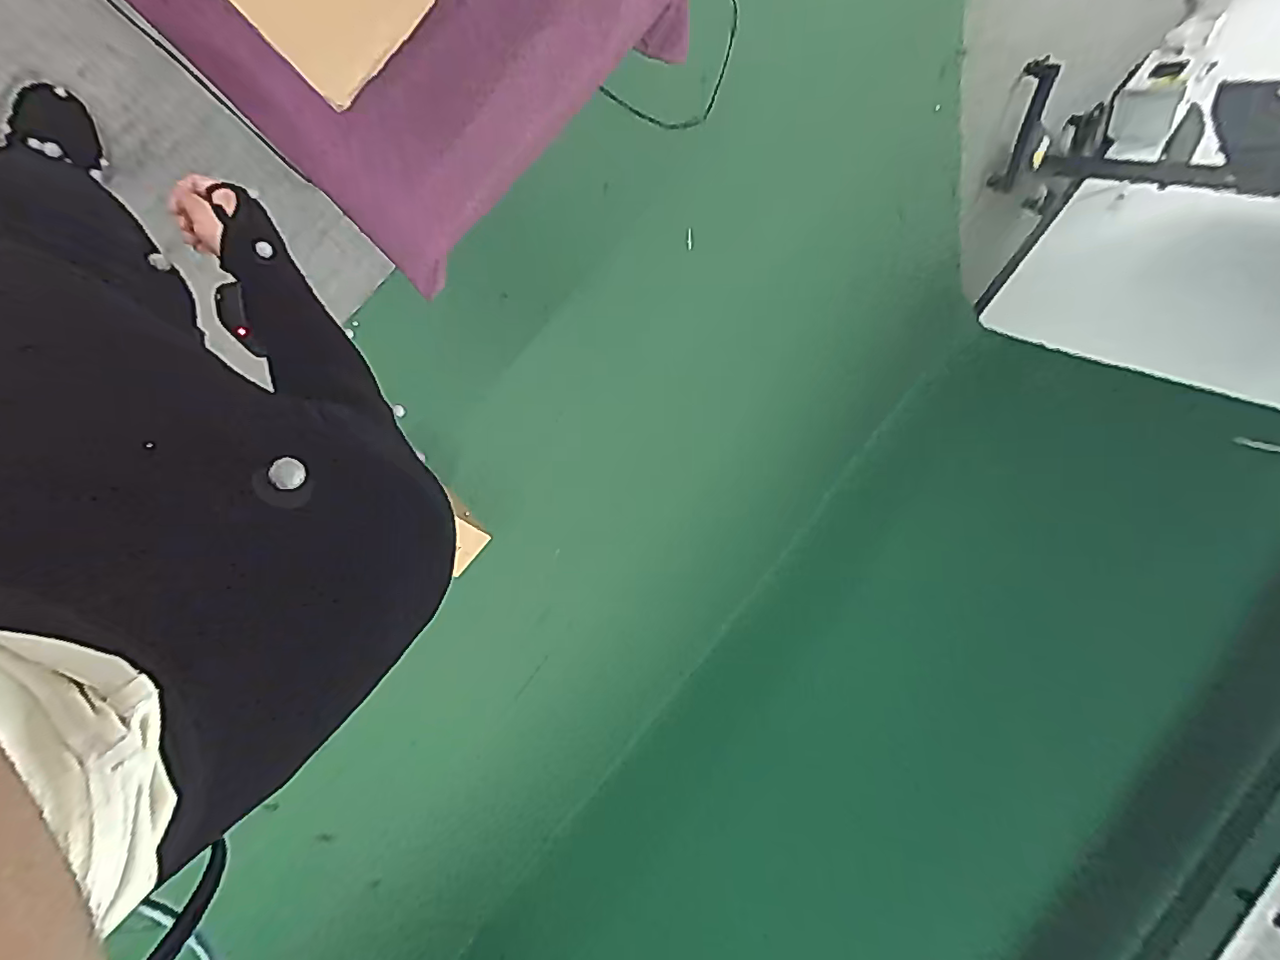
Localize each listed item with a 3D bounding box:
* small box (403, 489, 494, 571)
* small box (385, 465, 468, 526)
[{"bbox_3d":[-0.598,0.149,1.679,0.168,0.176,0.179,-50,141,-4],"label":"small box"},{"bbox_3d":[-0.700,0.075,1.783,0.168,0.176,0.179,-51,140,-4],"label":"small box"}]
